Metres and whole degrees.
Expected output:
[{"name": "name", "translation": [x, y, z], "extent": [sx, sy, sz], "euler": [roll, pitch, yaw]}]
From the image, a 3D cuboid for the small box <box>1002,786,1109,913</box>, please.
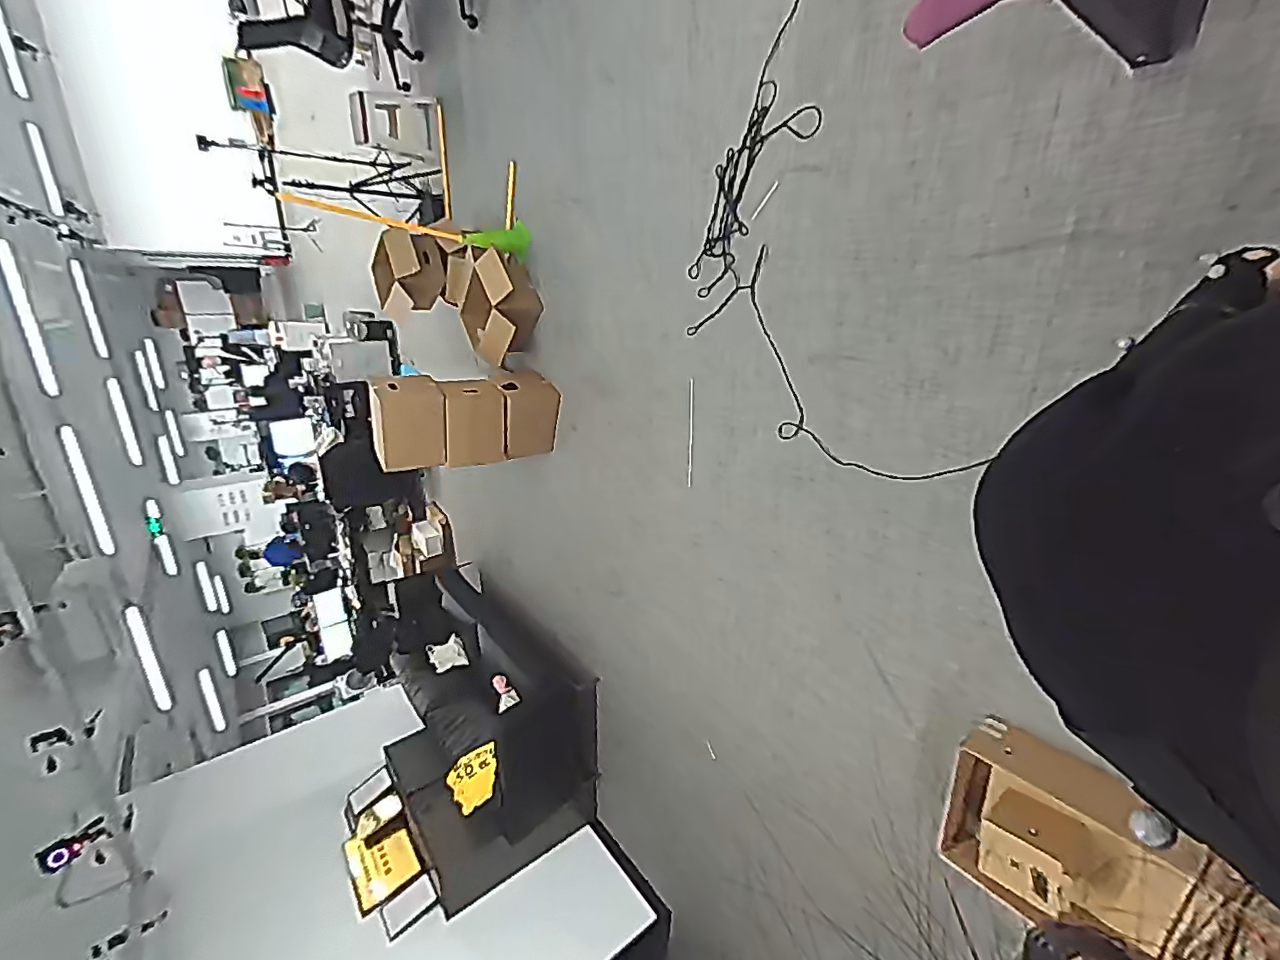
[{"name": "small box", "translation": [1.059, 0.926, 1.379], "extent": [0.179, 0.176, 0.168], "euler": [12, 111, 53]}]
